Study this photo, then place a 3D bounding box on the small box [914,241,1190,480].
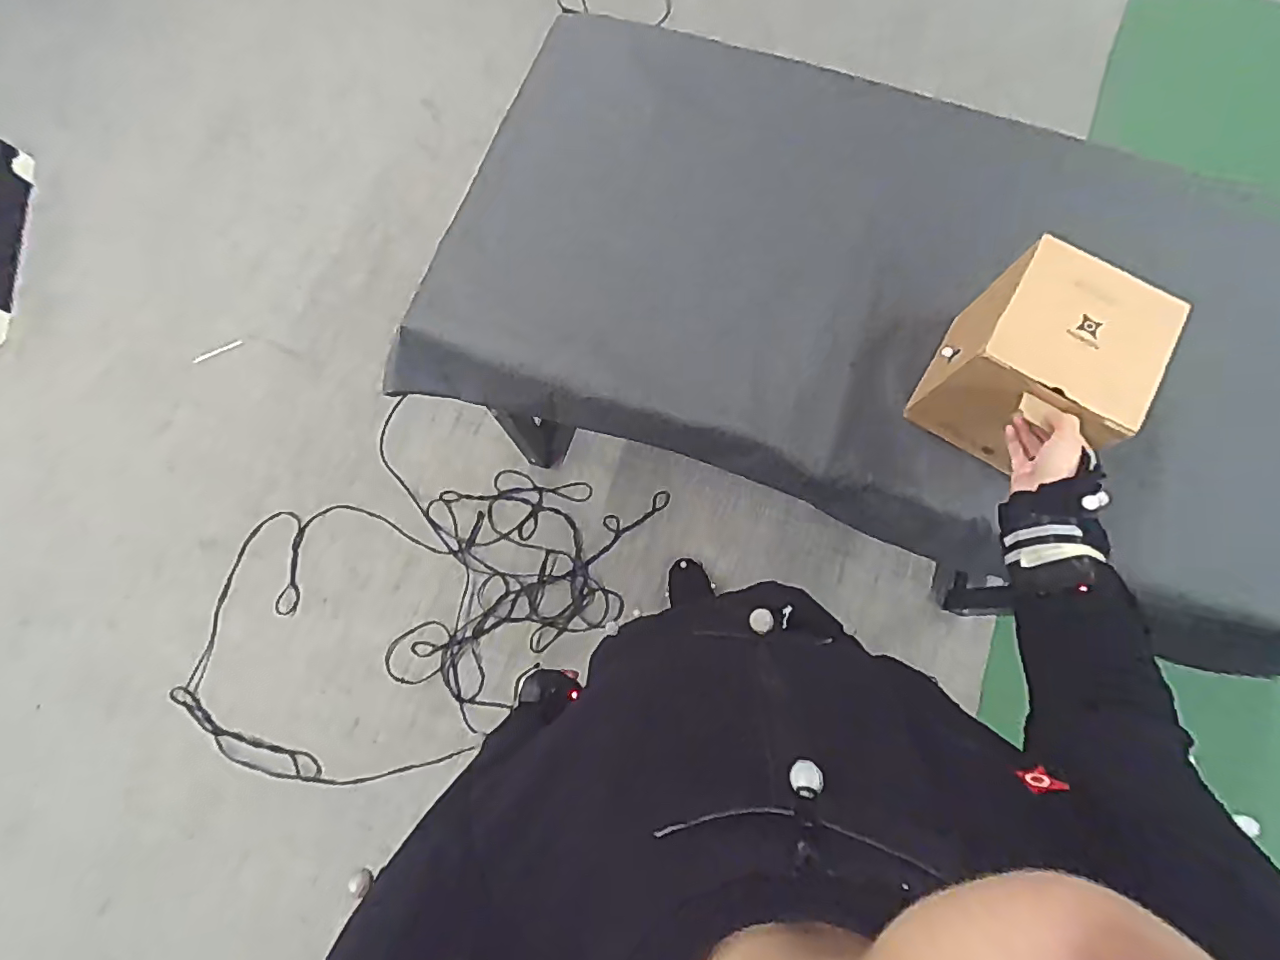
[{"bbox_3d":[0.452,-0.124,0.624,0.168,0.176,0.179,32,75,7],"label":"small box"}]
